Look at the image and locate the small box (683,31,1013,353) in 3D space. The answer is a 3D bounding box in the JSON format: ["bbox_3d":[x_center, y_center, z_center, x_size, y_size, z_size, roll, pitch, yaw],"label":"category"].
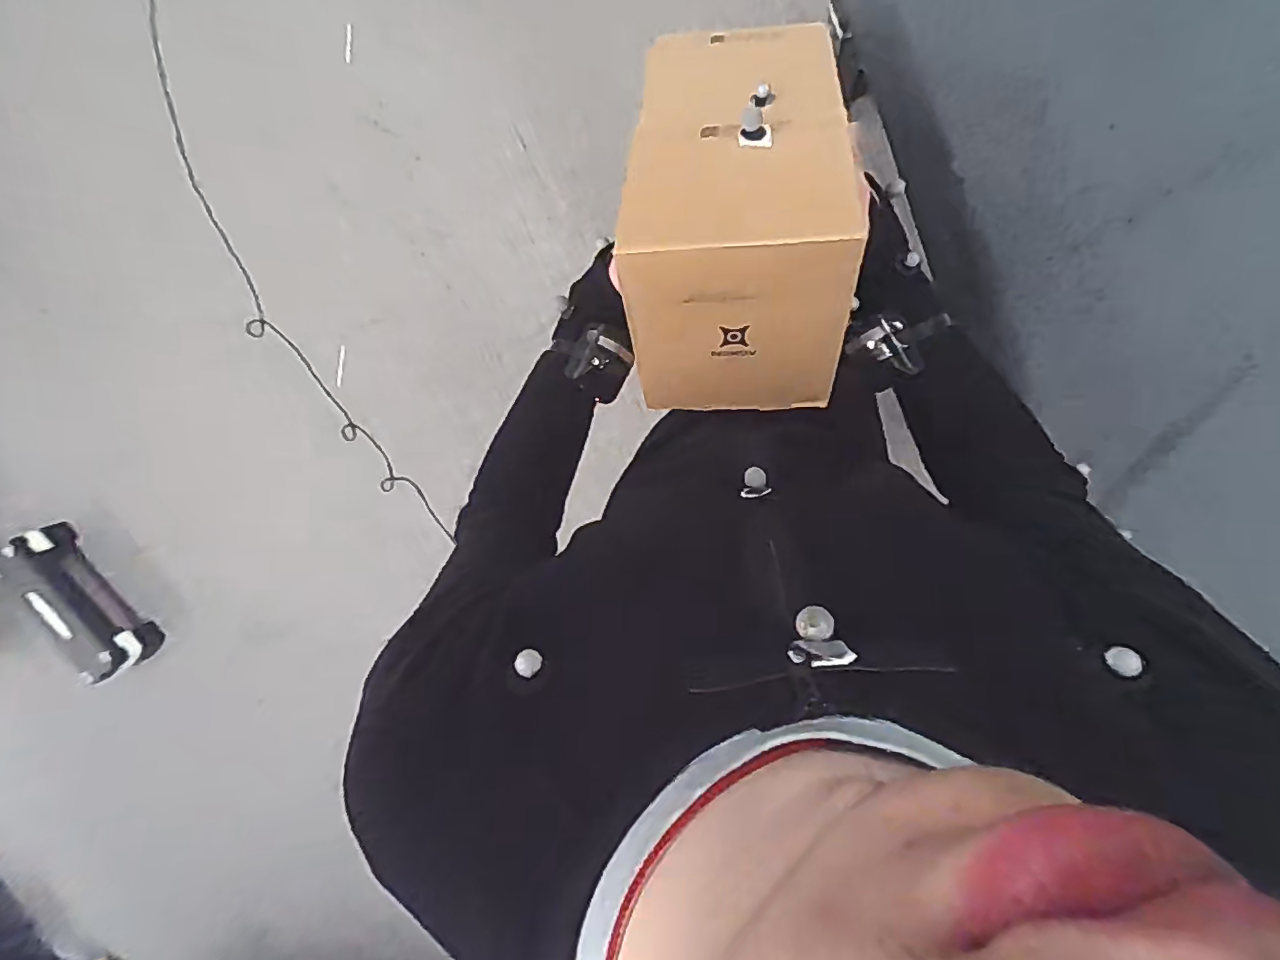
[{"bbox_3d":[0.163,-0.241,0.467,0.179,0.168,0.176,9,134,-21],"label":"small box"}]
